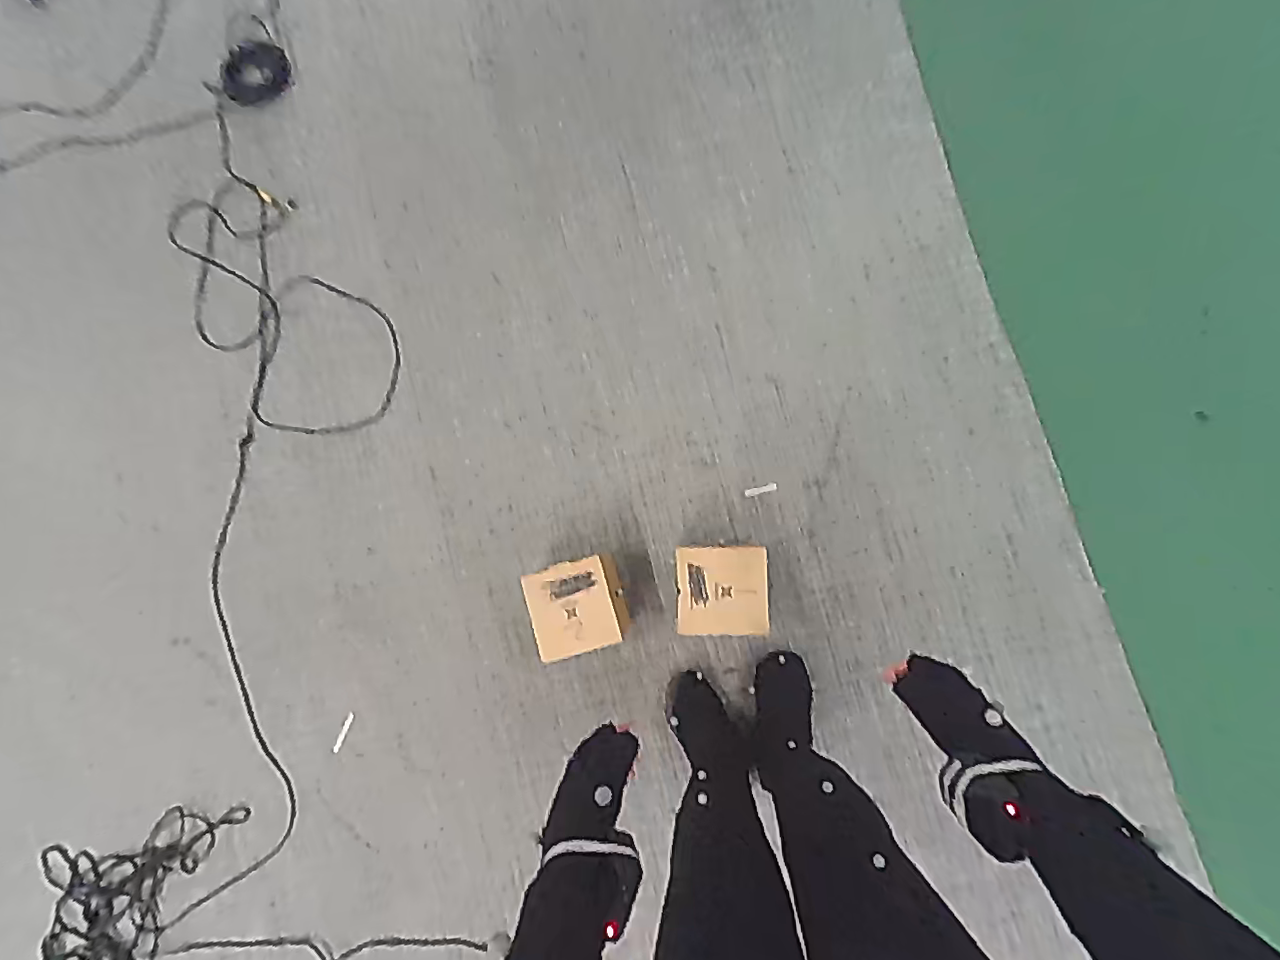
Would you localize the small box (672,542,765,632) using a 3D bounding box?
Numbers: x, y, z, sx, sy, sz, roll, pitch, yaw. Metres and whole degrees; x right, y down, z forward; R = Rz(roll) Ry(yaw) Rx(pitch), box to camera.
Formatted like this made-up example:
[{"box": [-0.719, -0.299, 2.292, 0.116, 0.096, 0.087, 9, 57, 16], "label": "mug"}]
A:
[{"box": [0.157, 0.213, 1.110, 0.179, 0.176, 0.168, -1, 85, 4], "label": "small box"}]
